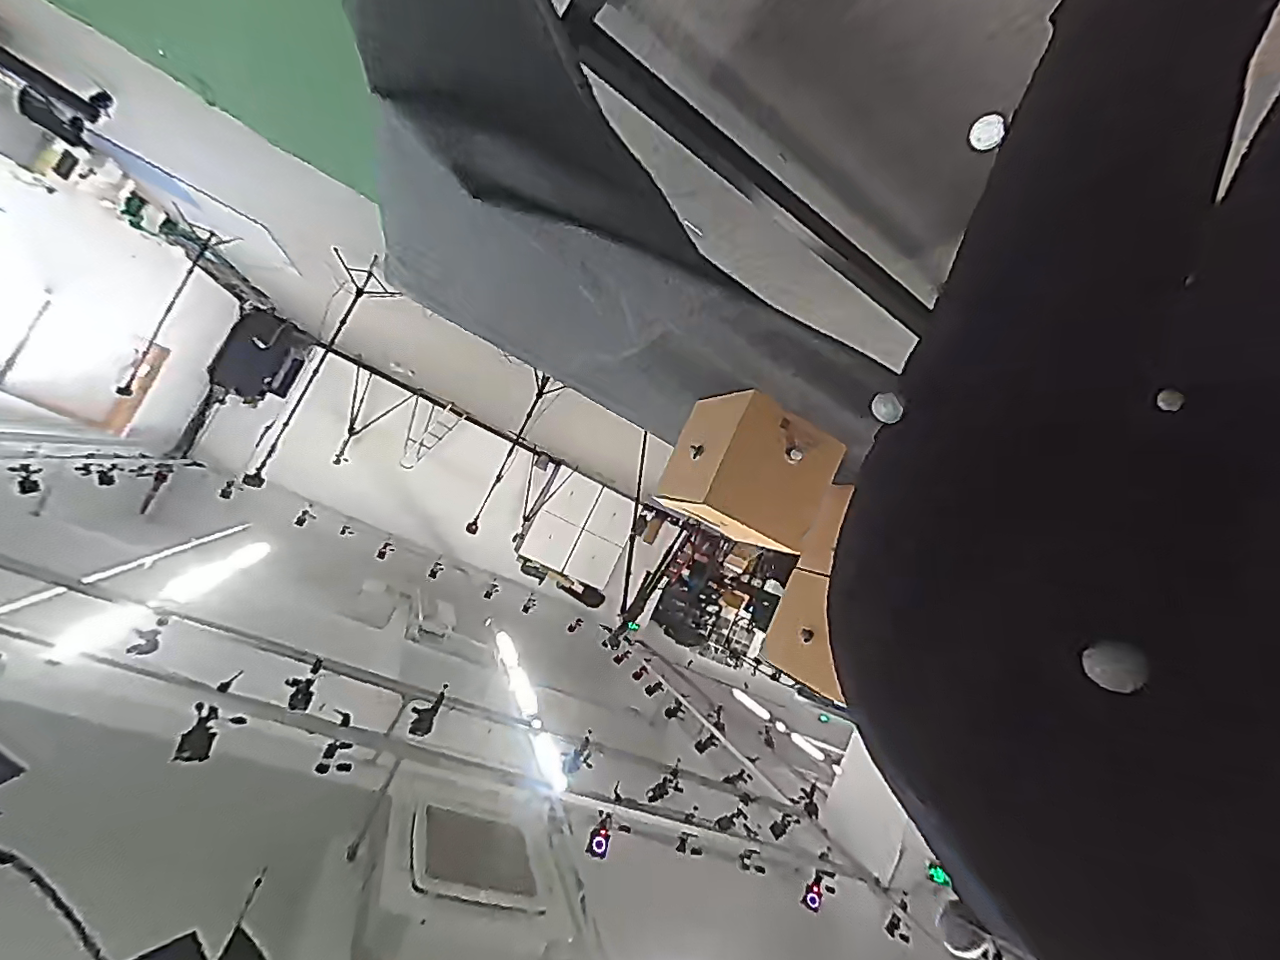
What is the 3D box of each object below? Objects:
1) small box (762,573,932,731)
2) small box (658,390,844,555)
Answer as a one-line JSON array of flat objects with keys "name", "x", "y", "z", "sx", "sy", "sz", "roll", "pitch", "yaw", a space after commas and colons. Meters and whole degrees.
[{"name": "small box", "x": 0.331, "y": 0.260, "z": 0.859, "sx": 0.168, "sy": 0.176, "sz": 0.179, "roll": 28, "pitch": 171, "yaw": -15}, {"name": "small box", "x": 0.157, "y": -0.013, "z": 0.779, "sx": 0.168, "sy": 0.176, "sz": 0.179, "roll": 28, "pitch": 173, "yaw": -19}]
